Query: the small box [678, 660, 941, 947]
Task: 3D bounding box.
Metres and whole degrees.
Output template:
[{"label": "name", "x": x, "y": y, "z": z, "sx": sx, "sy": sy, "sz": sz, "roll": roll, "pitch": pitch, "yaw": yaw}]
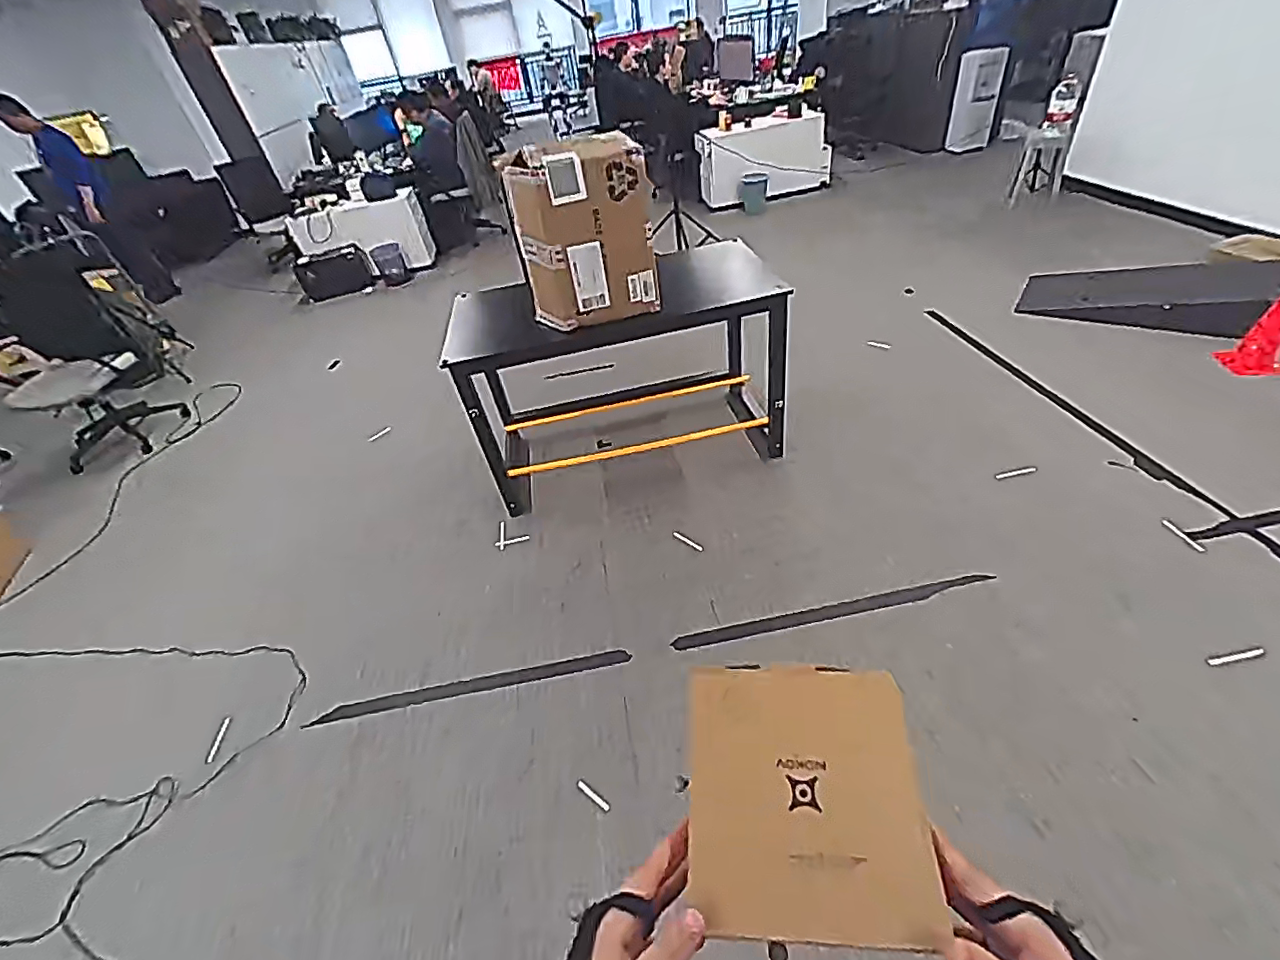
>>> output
[{"label": "small box", "x": 0.116, "y": 0.268, "z": 0.455, "sx": 0.168, "sy": 0.176, "sz": 0.179, "roll": -1, "pitch": 52, "yaw": 6}]
